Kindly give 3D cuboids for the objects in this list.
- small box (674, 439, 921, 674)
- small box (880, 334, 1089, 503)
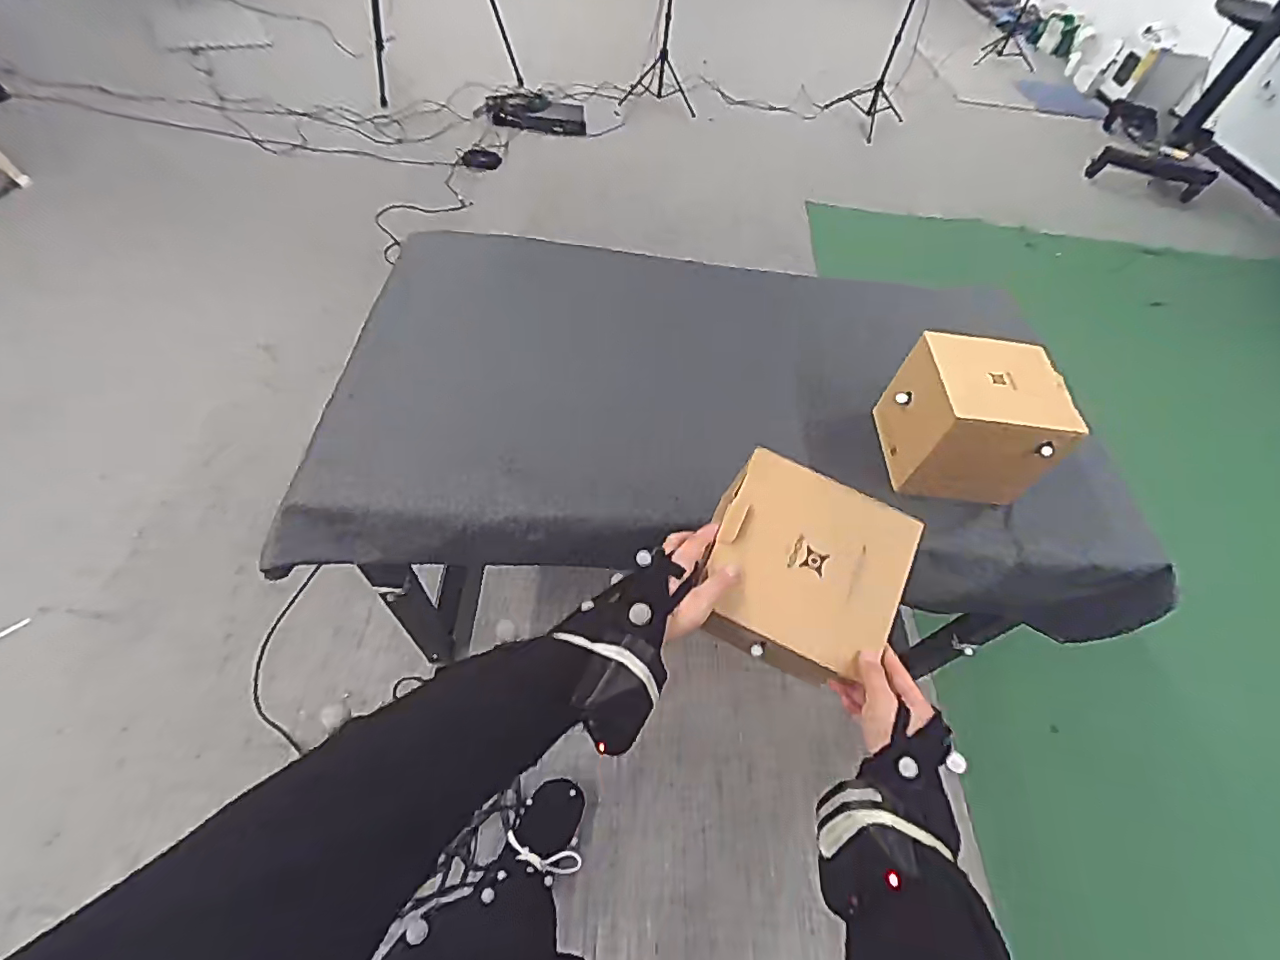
[{"bbox_3d":[0.150,0.089,0.571,0.179,0.176,0.168,26,73,5],"label":"small box"},{"bbox_3d":[0.465,-0.082,0.771,0.179,0.176,0.168,6,54,-3],"label":"small box"}]
